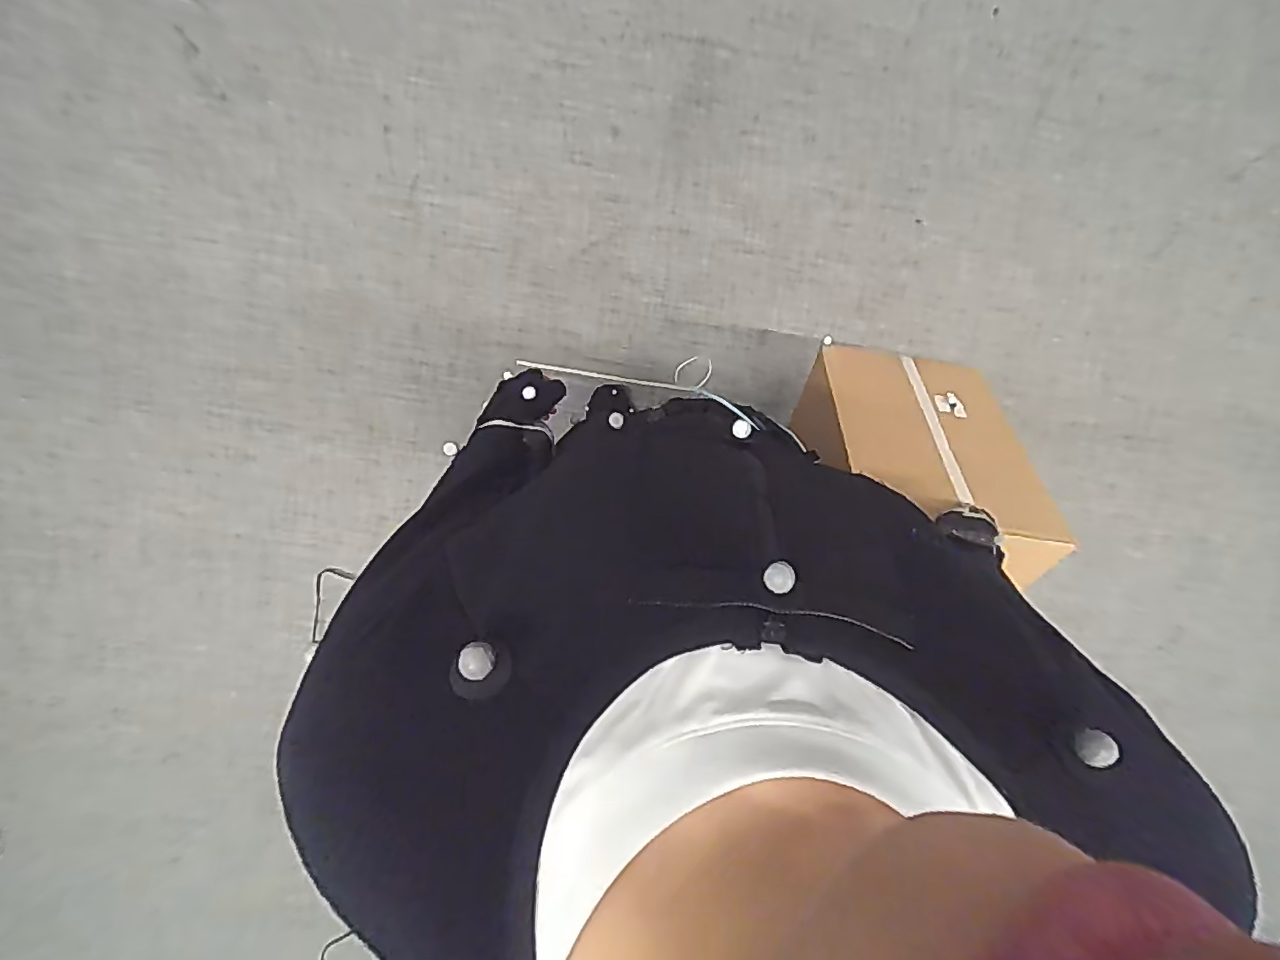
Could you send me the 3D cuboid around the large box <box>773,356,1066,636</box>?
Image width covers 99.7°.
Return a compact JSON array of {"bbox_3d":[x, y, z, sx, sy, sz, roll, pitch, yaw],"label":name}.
[{"bbox_3d":[0.453,0.029,1.001,0.320,0.408,0.320,8,138,-2],"label":"large box"}]
